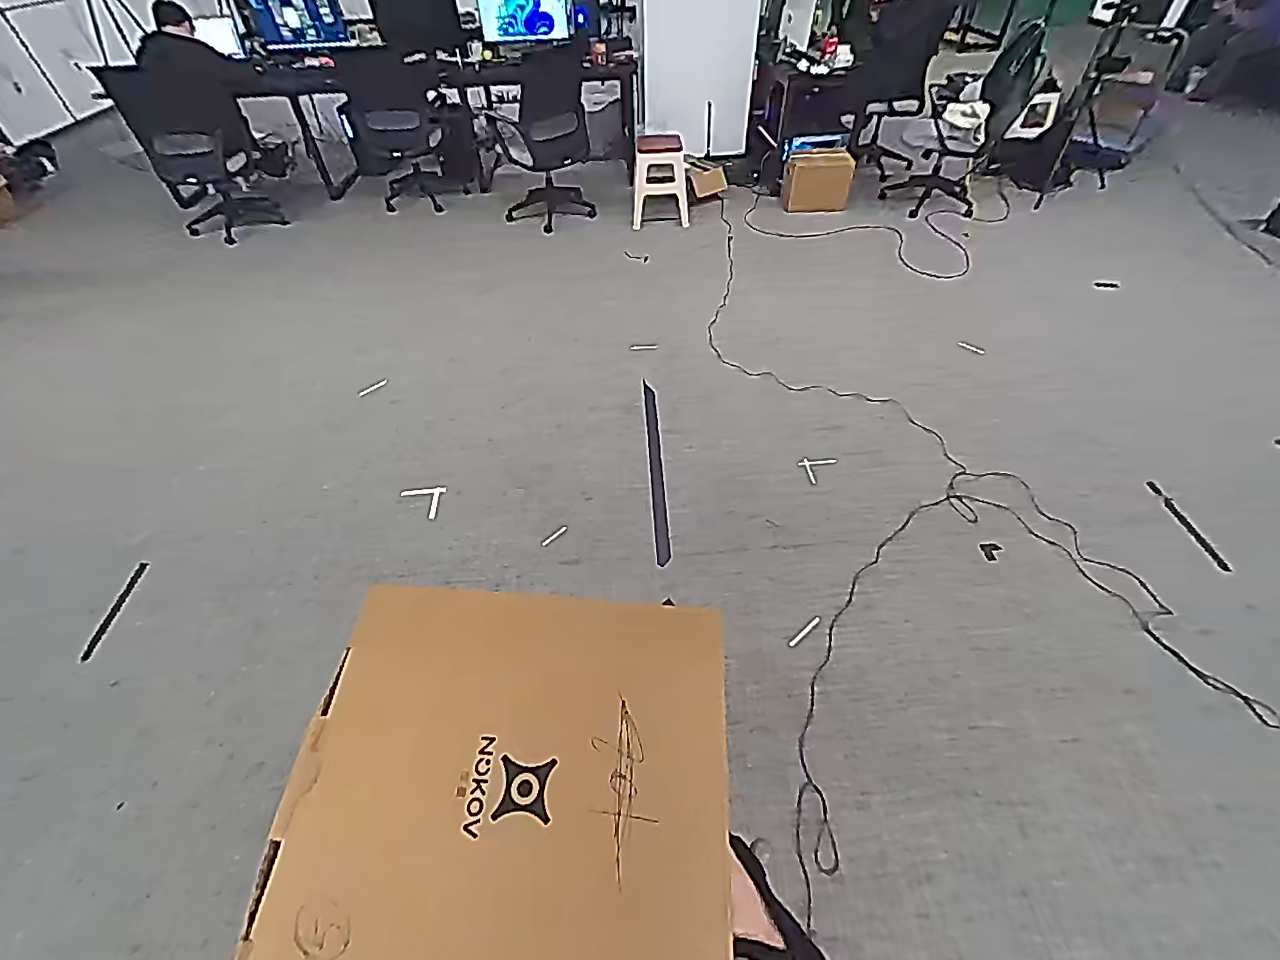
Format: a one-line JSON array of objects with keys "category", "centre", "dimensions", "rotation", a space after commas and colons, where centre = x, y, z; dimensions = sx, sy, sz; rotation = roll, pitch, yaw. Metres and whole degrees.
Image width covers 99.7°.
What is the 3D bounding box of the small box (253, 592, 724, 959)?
[{"category": "small box", "centre": [-0.057, 0.175, 0.300], "dimensions": [0.179, 0.176, 0.168], "rotation": [5, 57, -2]}]
